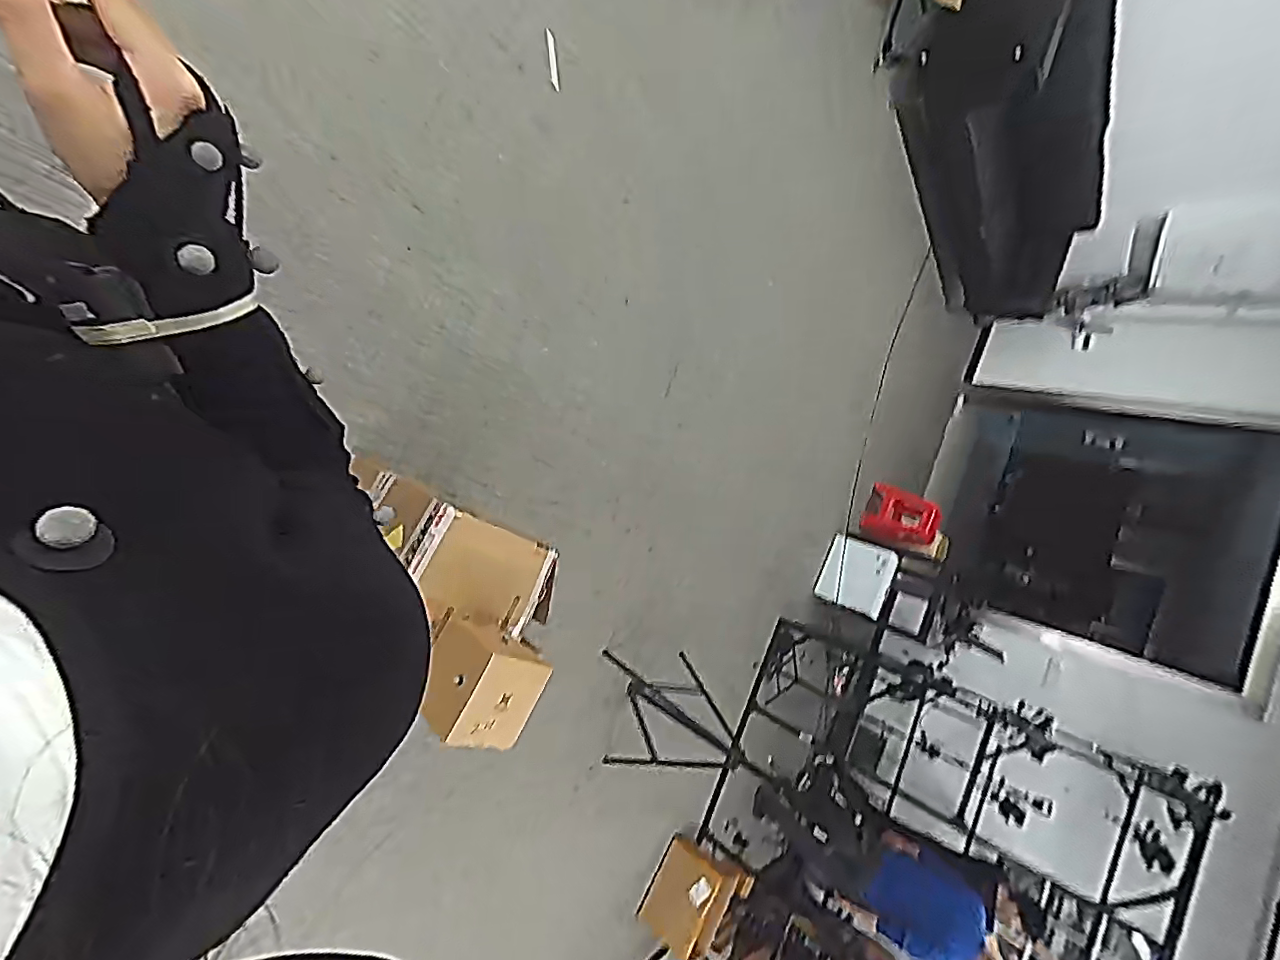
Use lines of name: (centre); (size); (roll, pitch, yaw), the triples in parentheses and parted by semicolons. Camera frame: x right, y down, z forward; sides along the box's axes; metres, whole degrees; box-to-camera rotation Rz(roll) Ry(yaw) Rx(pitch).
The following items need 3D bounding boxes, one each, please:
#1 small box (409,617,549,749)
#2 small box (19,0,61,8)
small box: (-0.319, 0.394, 1.063); (0.168, 0.176, 0.179); (39, 76, -46)
small box: (-0.341, -0.310, 0.193); (0.168, 0.176, 0.179); (-12, 128, -43)
